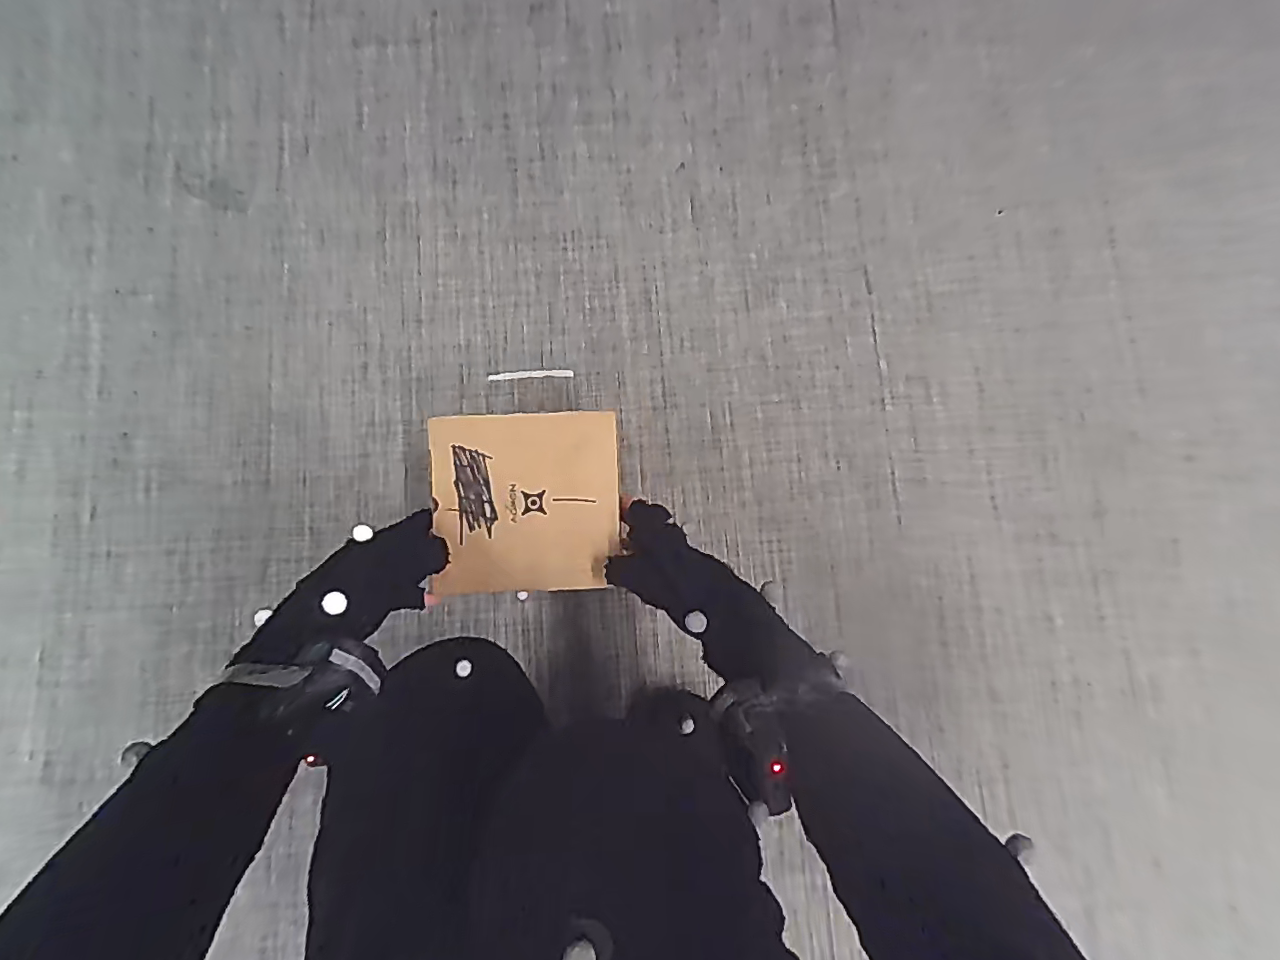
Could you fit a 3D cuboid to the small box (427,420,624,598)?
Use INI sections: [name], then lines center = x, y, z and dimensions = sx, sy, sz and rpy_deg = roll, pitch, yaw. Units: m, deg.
[small box]
center = -0.109, 0.032, 0.578
dimensions = 0.179, 0.176, 0.168
rpy_deg = -2, 87, 0
